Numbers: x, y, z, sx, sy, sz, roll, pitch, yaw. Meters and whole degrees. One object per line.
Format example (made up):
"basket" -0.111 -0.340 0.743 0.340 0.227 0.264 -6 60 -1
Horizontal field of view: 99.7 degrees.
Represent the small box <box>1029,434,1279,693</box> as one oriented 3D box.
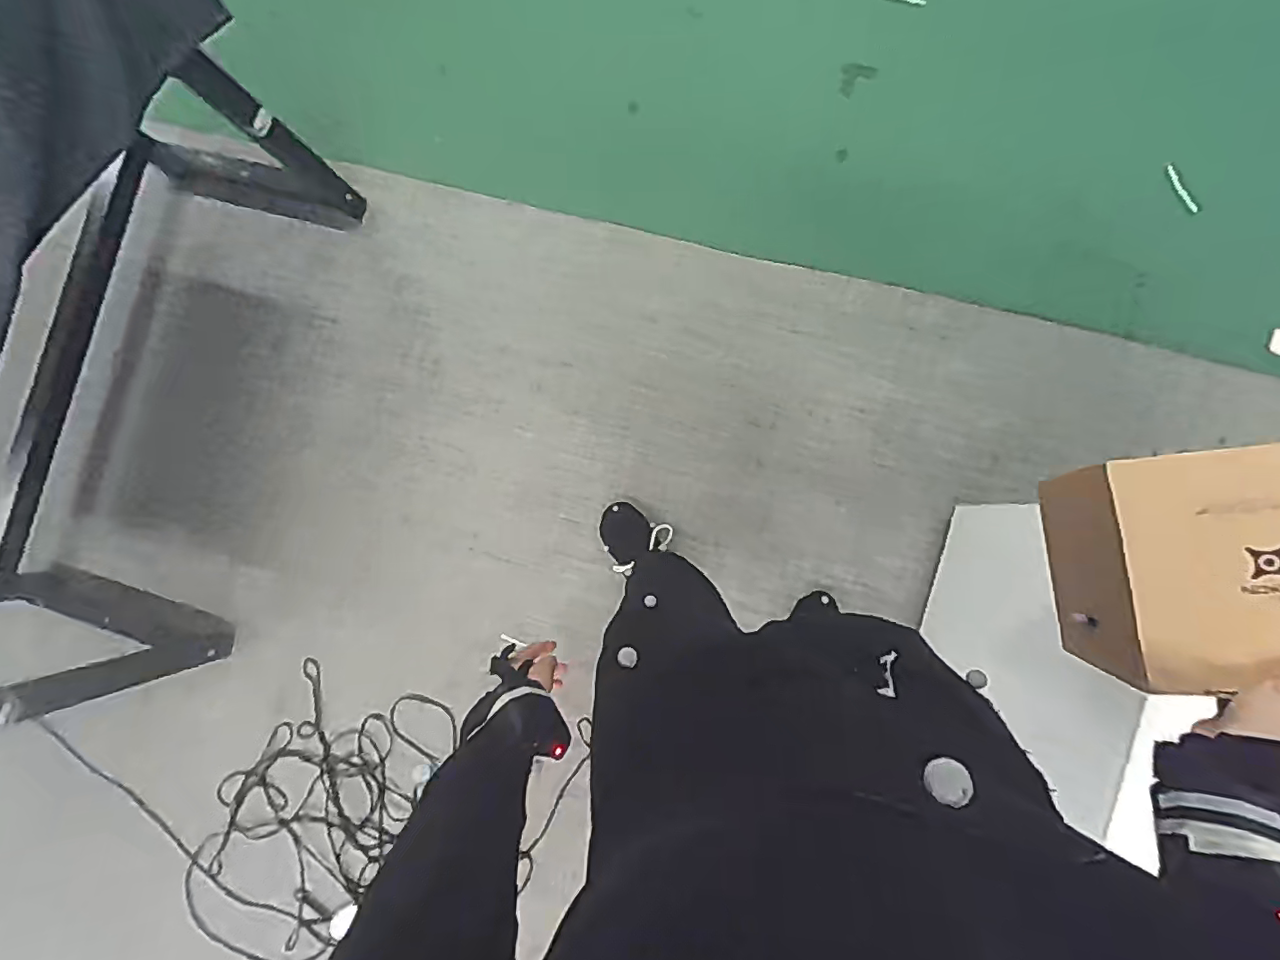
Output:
"small box" 0.459 0.065 0.451 0.168 0.176 0.179 -9 80 19
